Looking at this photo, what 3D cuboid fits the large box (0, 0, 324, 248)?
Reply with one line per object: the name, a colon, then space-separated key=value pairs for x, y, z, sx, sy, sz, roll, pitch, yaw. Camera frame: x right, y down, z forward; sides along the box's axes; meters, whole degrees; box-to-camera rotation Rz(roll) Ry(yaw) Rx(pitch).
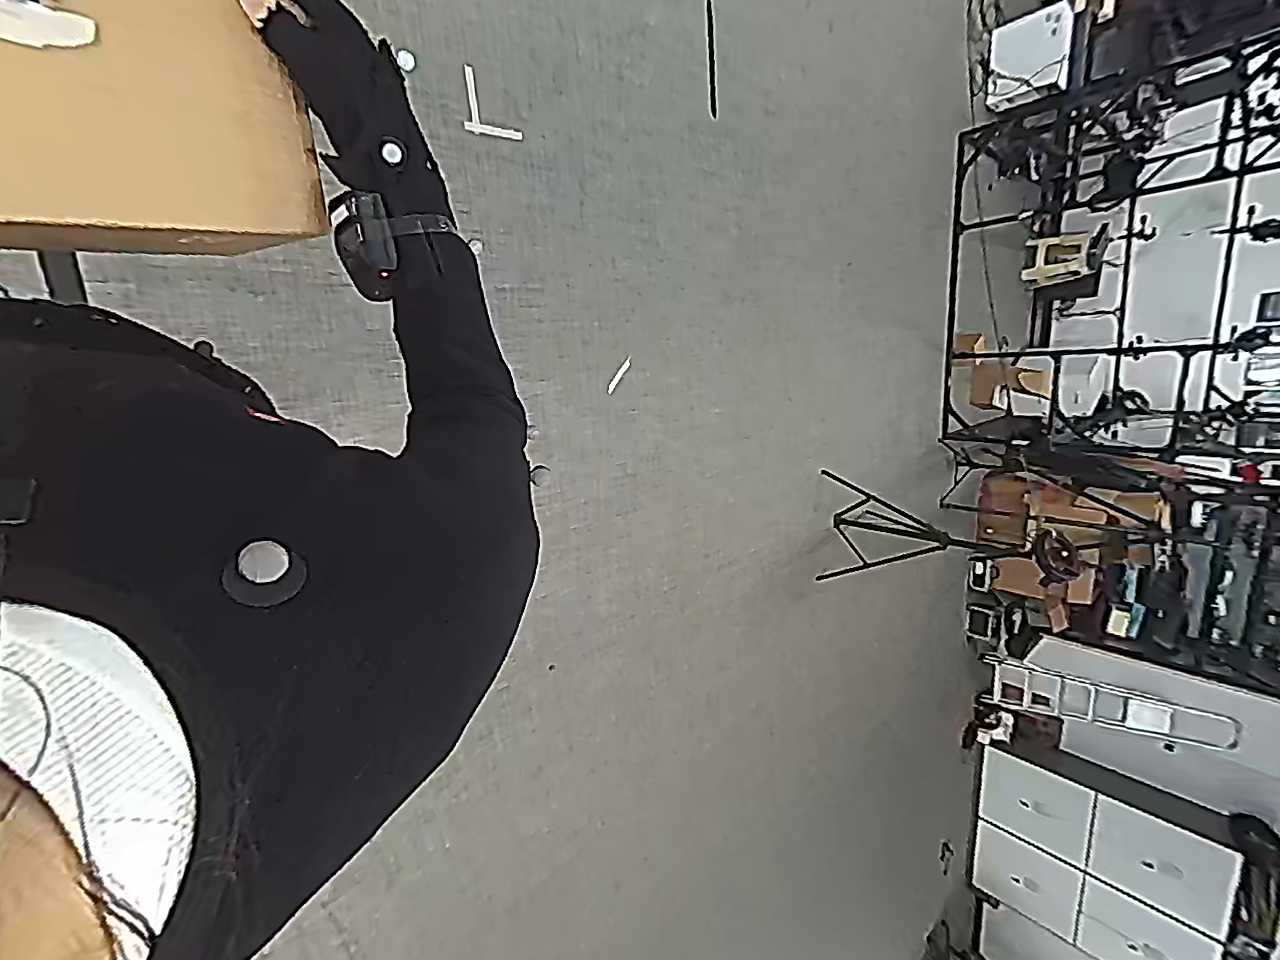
large box: x=-0.498 y=-0.322 z=0.341 sx=0.408 sy=0.320 sz=0.320 roll=-21 pitch=119 yaw=-42
